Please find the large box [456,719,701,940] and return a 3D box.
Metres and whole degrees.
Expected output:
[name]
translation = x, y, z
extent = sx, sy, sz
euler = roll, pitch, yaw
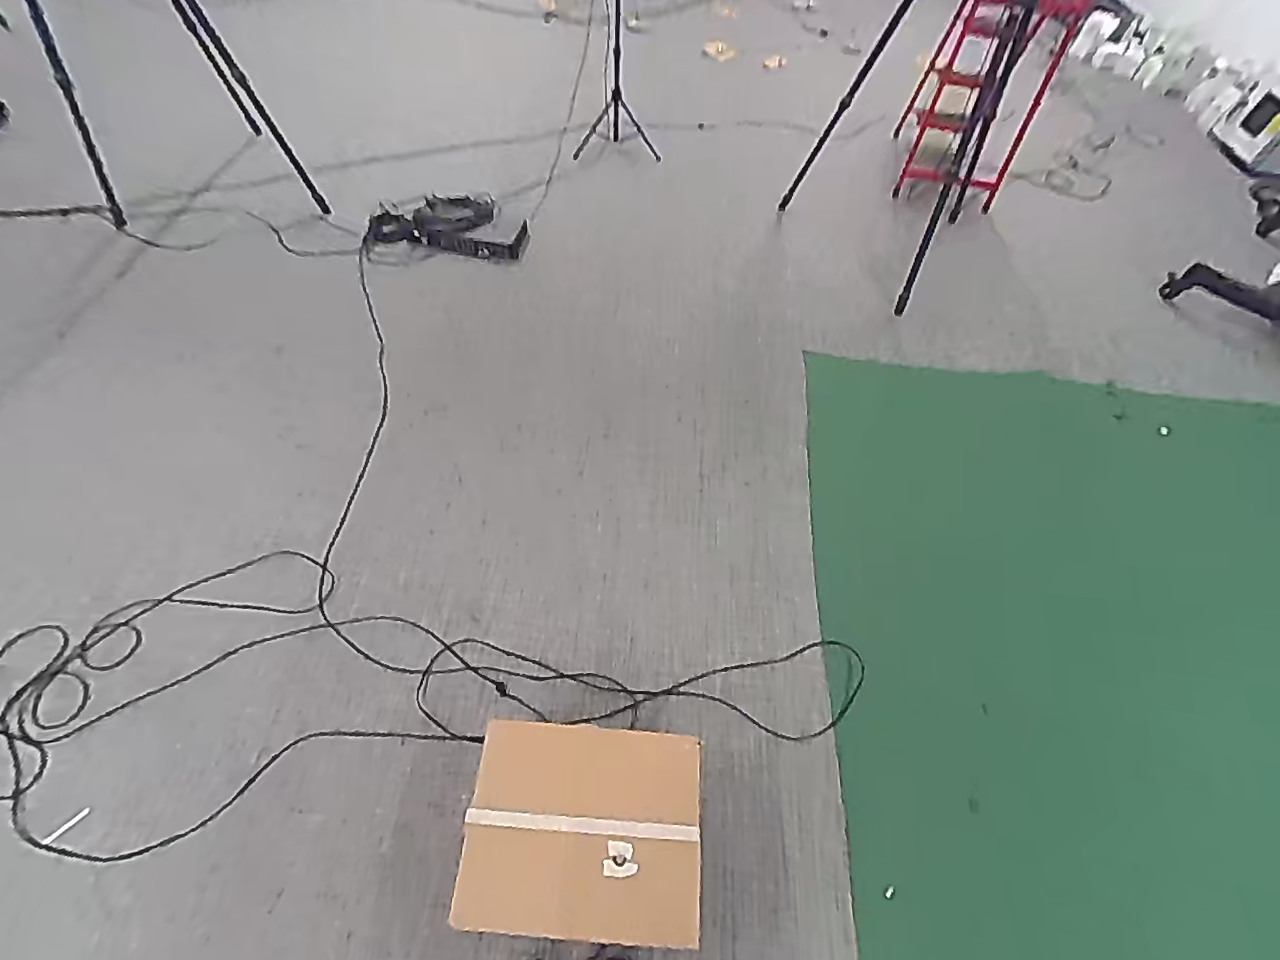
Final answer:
[large box]
translation = -0.100, 0.677, 1.070
extent = 0.408, 0.320, 0.320
euler = 5, 58, 0
